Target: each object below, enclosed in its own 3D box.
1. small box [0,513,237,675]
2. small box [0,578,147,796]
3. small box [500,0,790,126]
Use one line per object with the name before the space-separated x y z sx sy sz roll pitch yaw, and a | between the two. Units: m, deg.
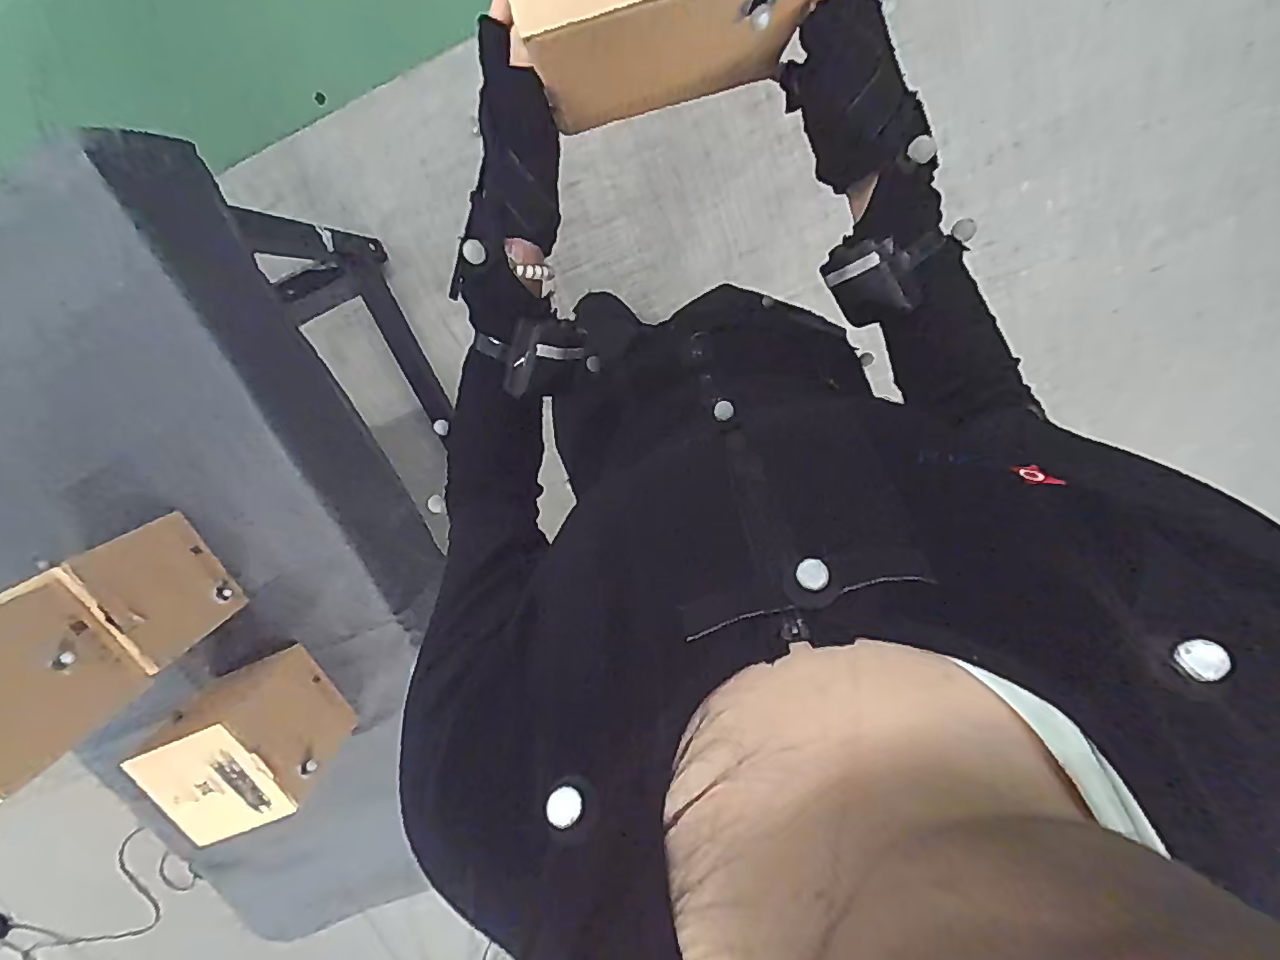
small box | -0.698 0.167 0.730 0.179 0.176 0.168 -23 107 9
small box | -0.709 0.236 0.580 0.179 0.176 0.168 -25 107 9
small box | -0.003 -0.348 0.327 0.179 0.176 0.168 -14 107 3
